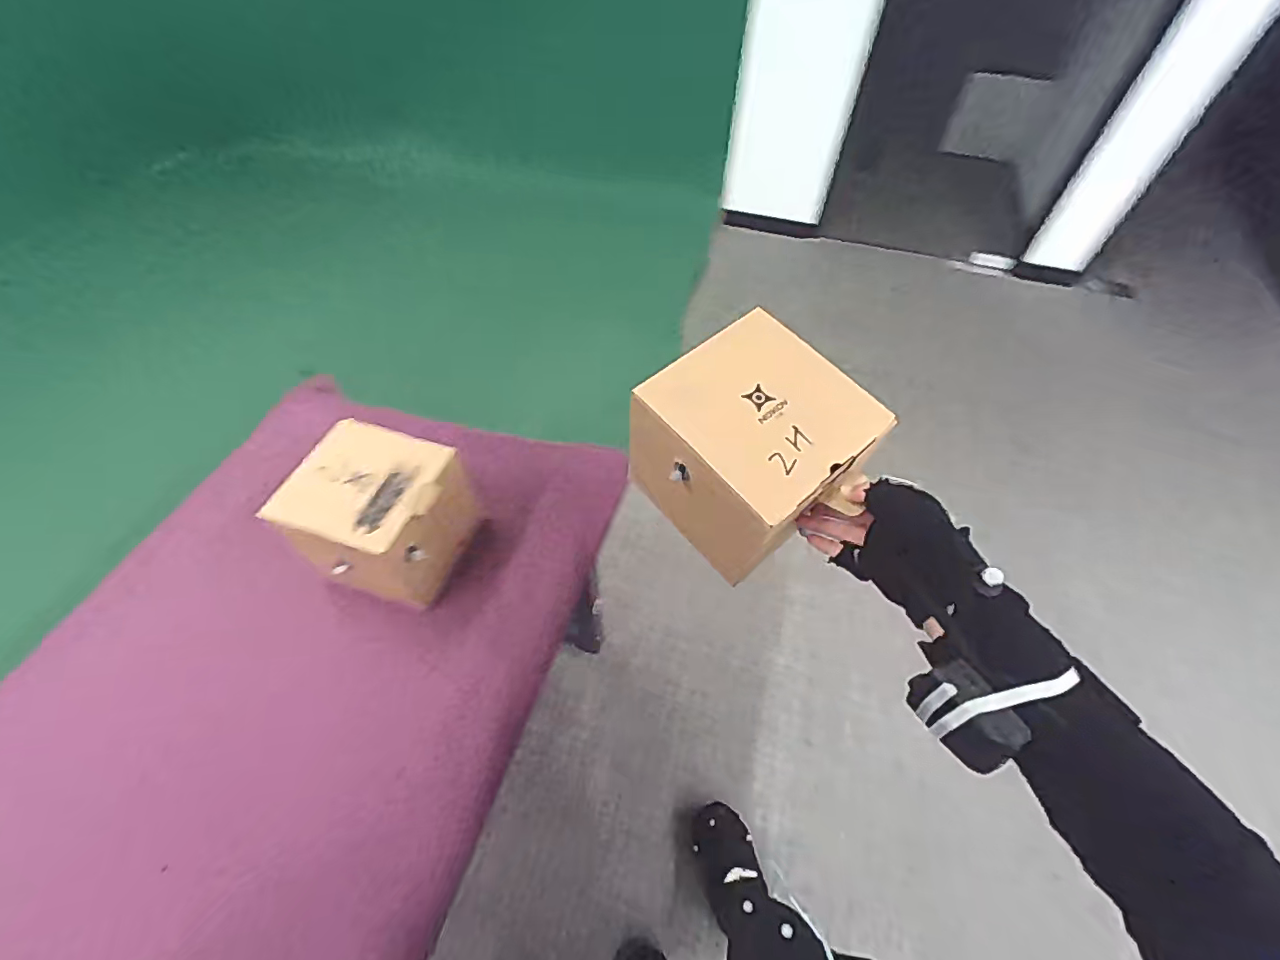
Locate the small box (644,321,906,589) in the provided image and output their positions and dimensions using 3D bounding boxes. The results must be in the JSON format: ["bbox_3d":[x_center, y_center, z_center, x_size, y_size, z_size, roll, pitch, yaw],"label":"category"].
[{"bbox_3d":[0.116,-0.018,0.549,0.168,0.176,0.179,-35,69,-18],"label":"small box"}]
